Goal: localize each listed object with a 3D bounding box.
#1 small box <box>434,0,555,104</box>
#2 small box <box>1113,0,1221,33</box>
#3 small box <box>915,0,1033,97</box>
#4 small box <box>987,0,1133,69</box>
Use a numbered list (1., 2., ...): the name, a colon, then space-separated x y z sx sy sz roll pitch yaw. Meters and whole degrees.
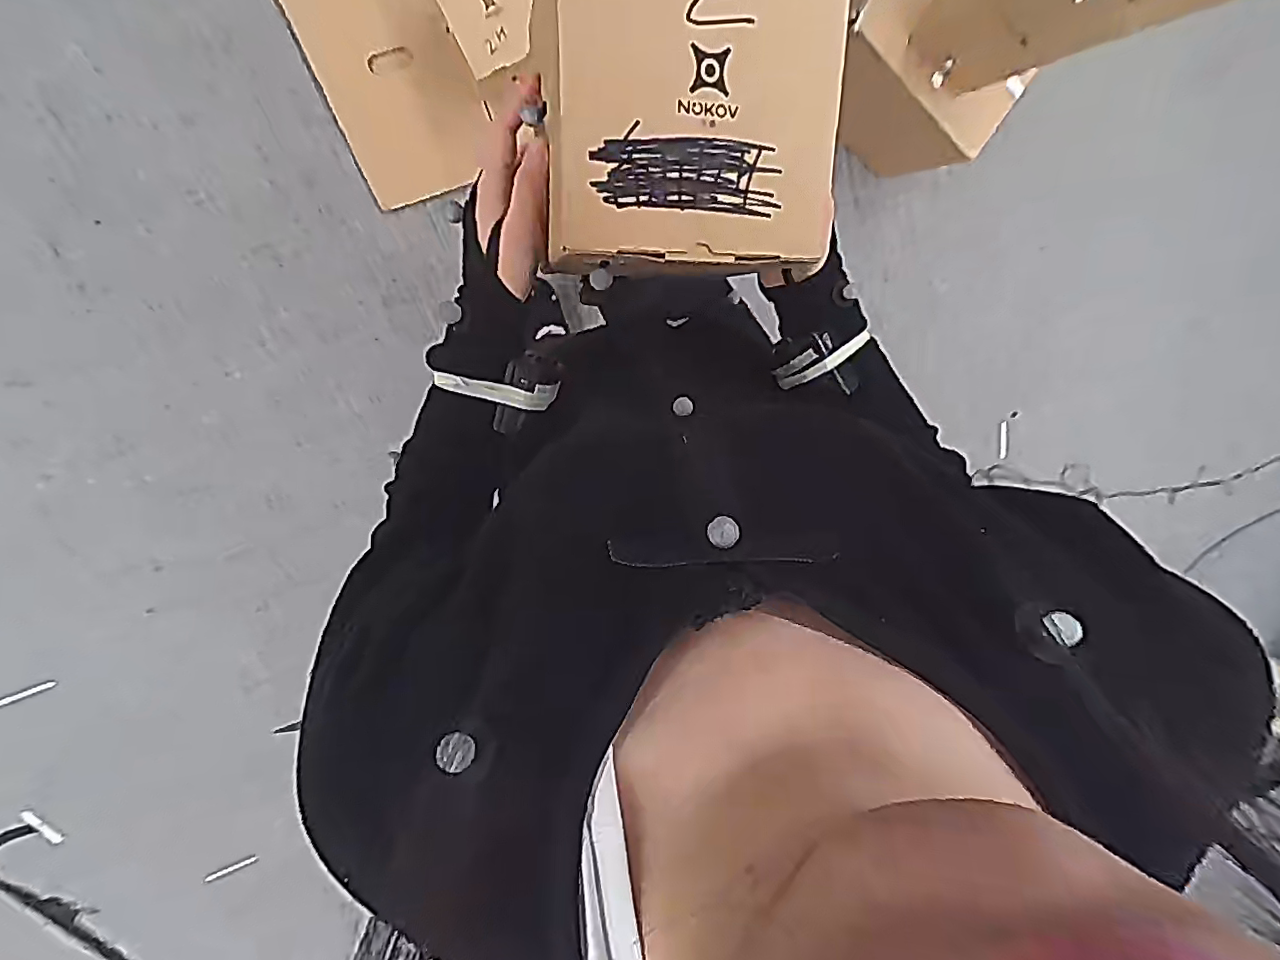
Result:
1. small box: -0.284 -0.876 1.047 0.168 0.176 0.179 -29 116 -1
2. small box: 0.740 -0.741 0.697 0.168 0.176 0.179 27 101 -23
3. small box: 0.652 -0.857 0.990 0.168 0.176 0.179 27 102 -23
4. small box: 0.696 -0.802 0.842 0.168 0.176 0.179 27 101 -23
